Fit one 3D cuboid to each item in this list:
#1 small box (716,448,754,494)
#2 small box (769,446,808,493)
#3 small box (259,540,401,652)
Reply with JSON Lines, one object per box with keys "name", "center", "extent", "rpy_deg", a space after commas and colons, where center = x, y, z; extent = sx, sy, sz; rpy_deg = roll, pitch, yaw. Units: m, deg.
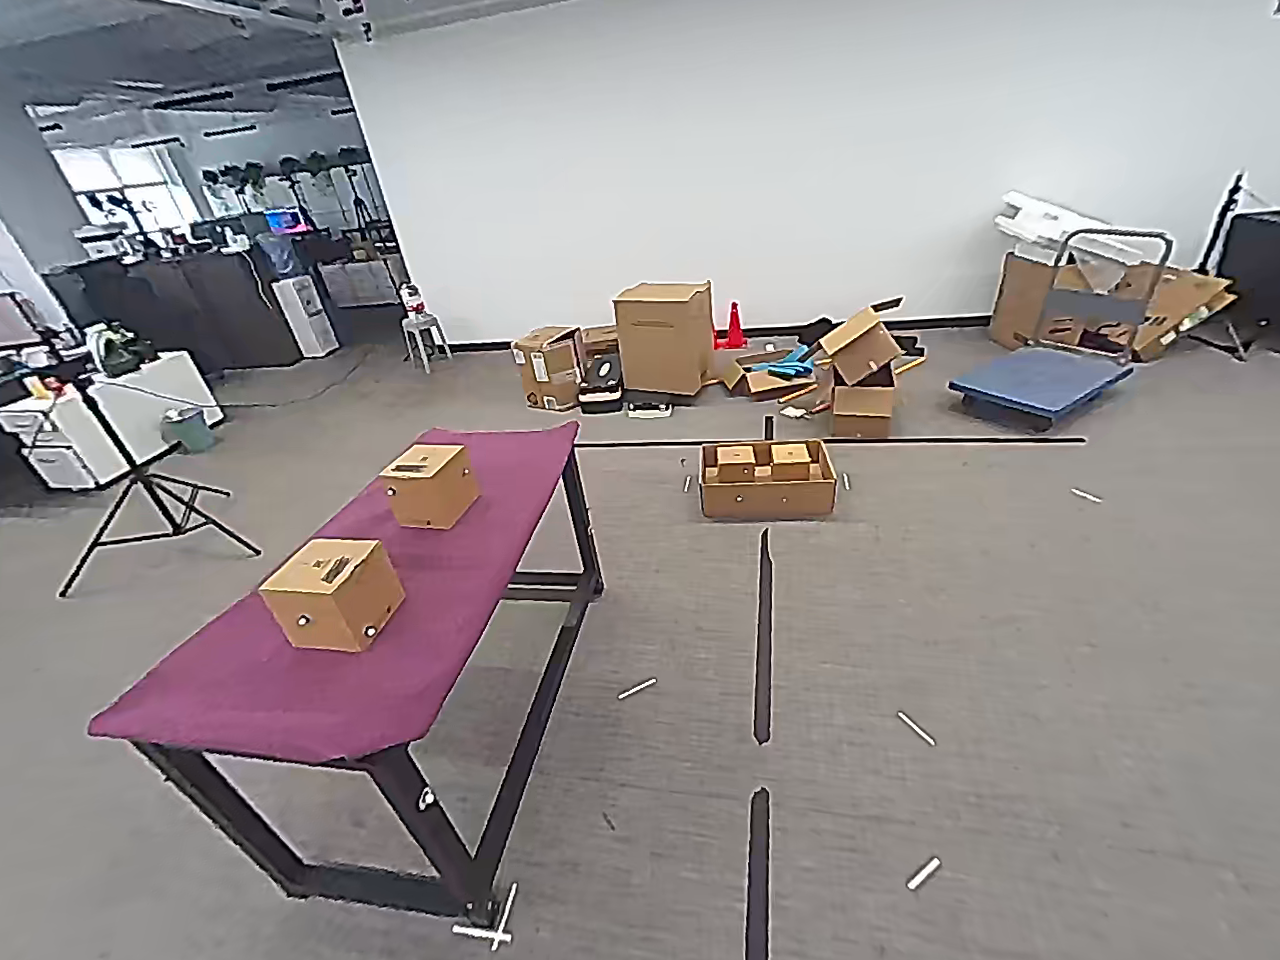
{"name": "small box", "center": [0.467, -0.044, 2.685], "extent": [0.179, 0.176, 0.168], "rpy_deg": [-2, 31, 6]}
{"name": "small box", "center": [0.725, -0.052, 2.647], "extent": [0.168, 0.176, 0.179], "rpy_deg": [-3, 32, 9]}
{"name": "small box", "center": [-0.648, 0.248, 1.158], "extent": [0.179, 0.176, 0.168], "rpy_deg": [0, 32, 12]}
